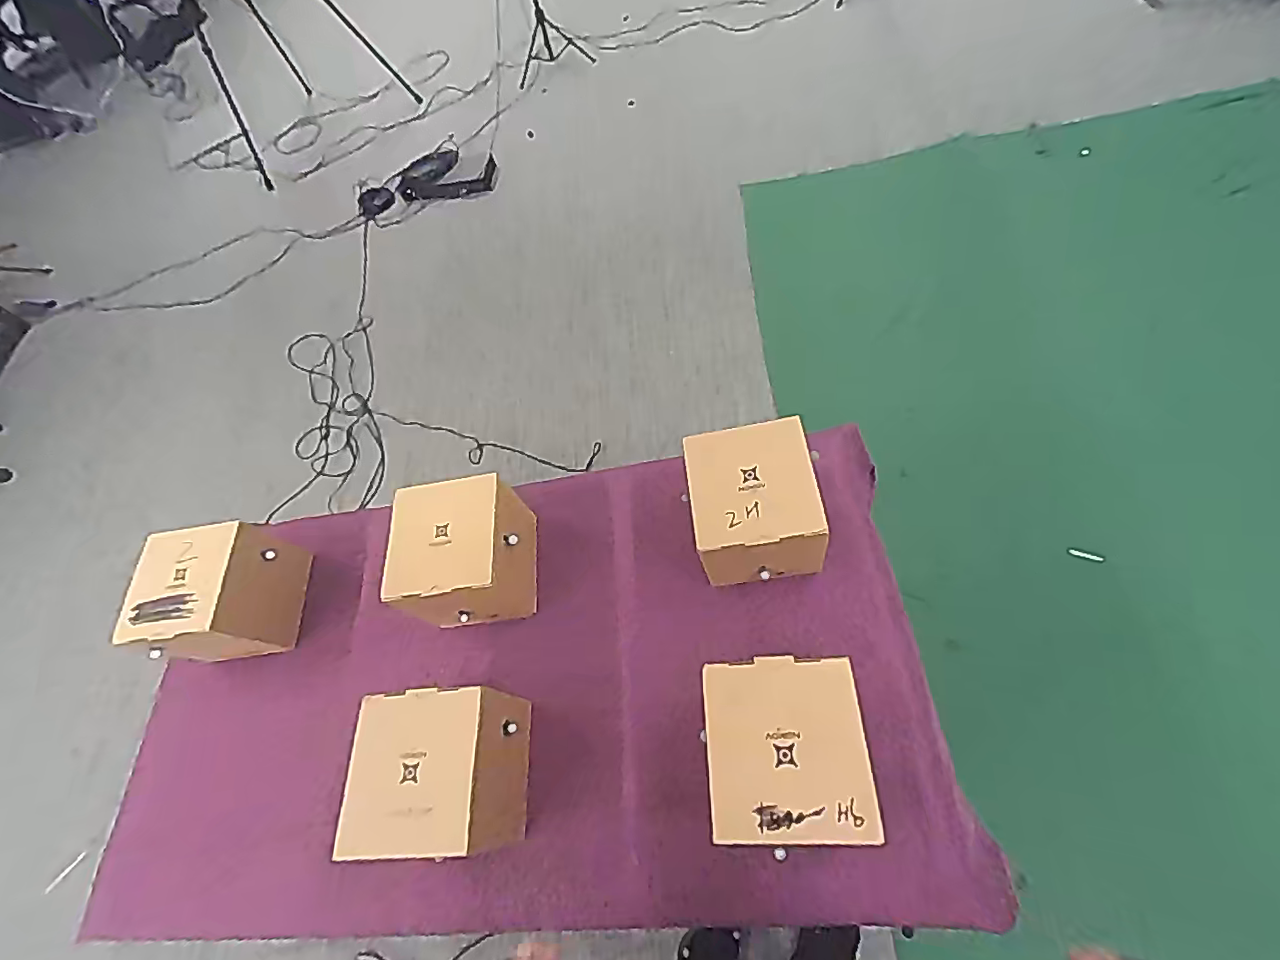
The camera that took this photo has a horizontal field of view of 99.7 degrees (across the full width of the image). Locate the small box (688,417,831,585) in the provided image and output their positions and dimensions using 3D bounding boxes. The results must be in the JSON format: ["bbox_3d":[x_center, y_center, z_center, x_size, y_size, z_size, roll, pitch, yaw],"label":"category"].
[{"bbox_3d":[0.166,0.037,0.778,0.168,0.176,0.179,-9,62,10],"label":"small box"}]

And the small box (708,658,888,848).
[{"bbox_3d":[0.170,0.318,0.630,0.168,0.176,0.179,-6,59,10],"label":"small box"}]

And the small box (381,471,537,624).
[{"bbox_3d":[-0.265,0.110,0.835,0.168,0.176,0.179,-9,62,7],"label":"small box"}]

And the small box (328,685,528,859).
[{"bbox_3d":[-0.252,0.371,0.692,0.168,0.176,0.179,-7,61,9],"label":"small box"}]
